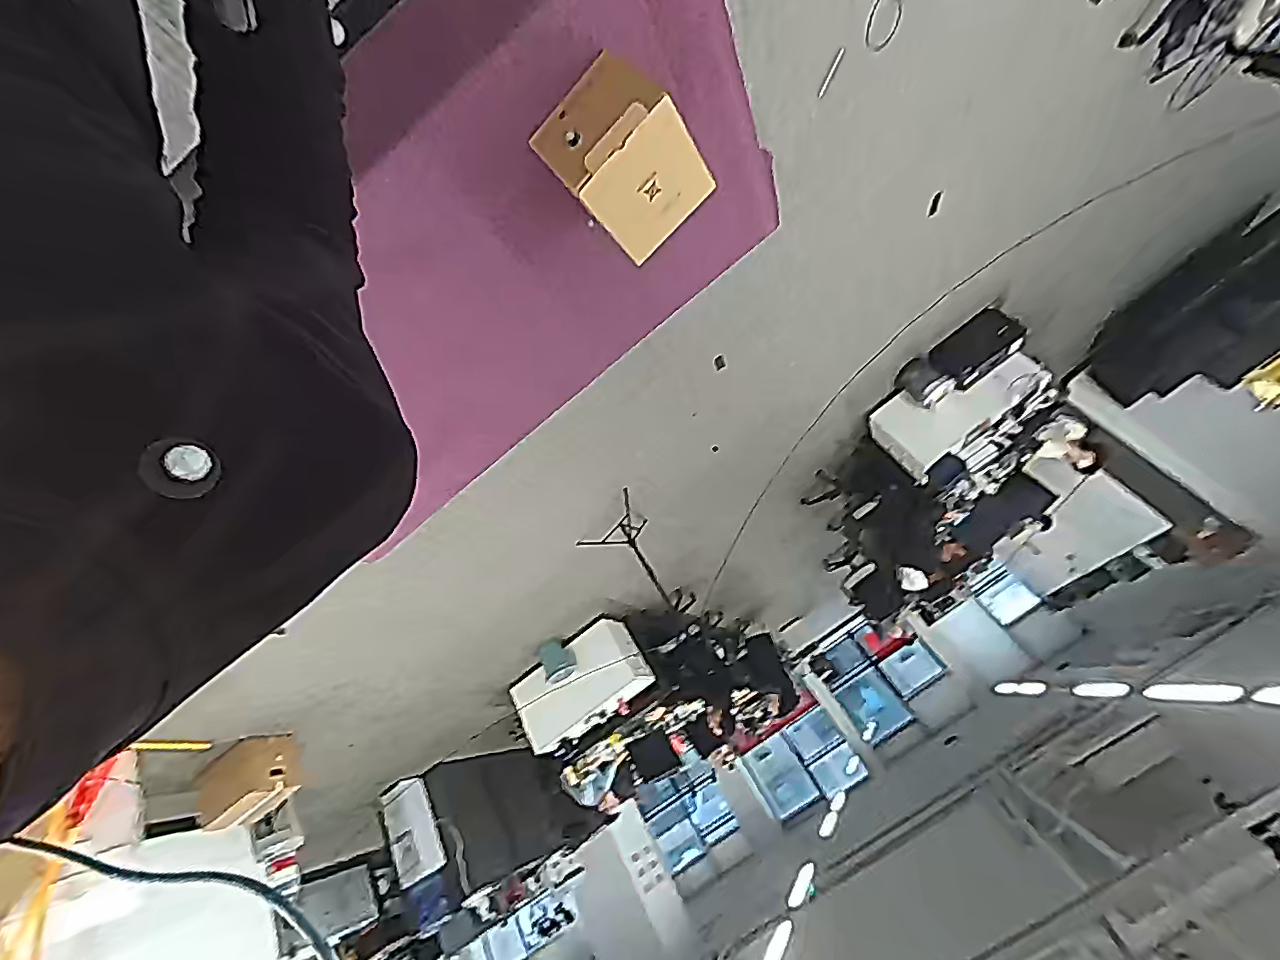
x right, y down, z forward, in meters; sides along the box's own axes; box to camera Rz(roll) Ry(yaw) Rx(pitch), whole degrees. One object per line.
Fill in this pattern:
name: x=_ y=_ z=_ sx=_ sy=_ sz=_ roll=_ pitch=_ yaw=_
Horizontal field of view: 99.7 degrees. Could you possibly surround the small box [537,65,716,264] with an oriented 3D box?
small box: x=-0.023 y=-0.471 z=0.807 sx=0.168 sy=0.176 sz=0.179 roll=-41 pitch=150 yaw=14
